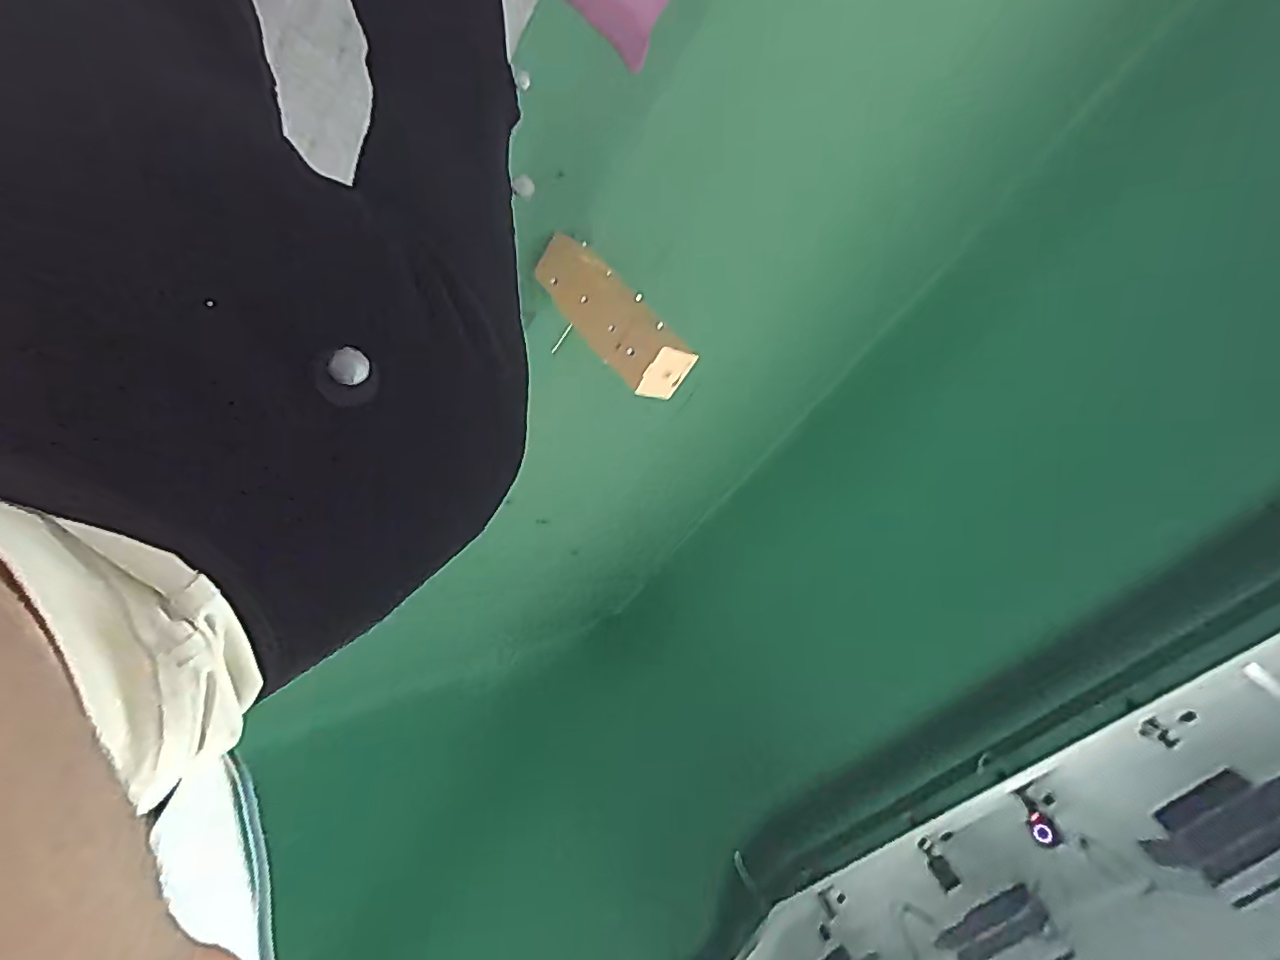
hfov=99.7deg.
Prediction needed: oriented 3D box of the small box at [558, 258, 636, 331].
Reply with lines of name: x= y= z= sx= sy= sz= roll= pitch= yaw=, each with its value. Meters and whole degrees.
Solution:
small box: x=-0.150 y=-0.603 z=1.804 sx=0.168 sy=0.176 sz=0.179 roll=0 pitch=135 yaw=-49

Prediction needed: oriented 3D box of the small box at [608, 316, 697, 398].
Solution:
small box: x=0.032 y=-0.377 z=1.652 sx=0.179 sy=0.176 sz=0.168 roll=1 pitch=134 yaw=-49

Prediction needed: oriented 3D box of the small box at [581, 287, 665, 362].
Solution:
small box: x=-0.060 y=-0.488 z=1.730 sx=0.168 sy=0.176 sz=0.179 roll=-1 pitch=137 yaw=-48

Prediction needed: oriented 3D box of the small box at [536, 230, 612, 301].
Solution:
small box: x=-0.235 y=-0.723 z=1.874 sx=0.168 sy=0.176 sz=0.179 roll=3 pitch=133 yaw=-51
